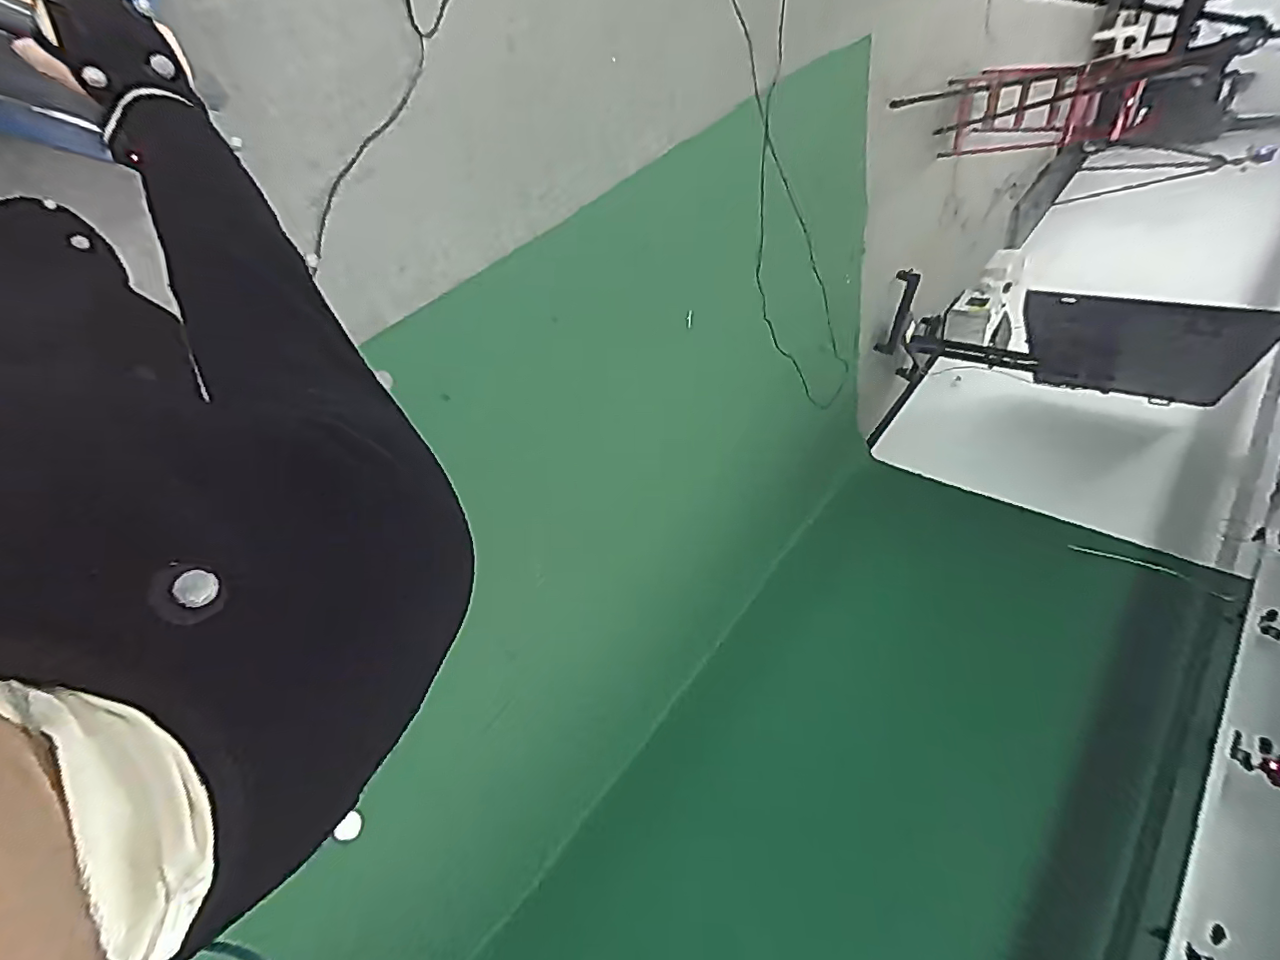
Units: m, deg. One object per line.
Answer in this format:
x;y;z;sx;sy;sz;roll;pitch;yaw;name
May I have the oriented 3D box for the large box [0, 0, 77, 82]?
-0.921;-0.792;0.650;0.320;0.320;0.408;-3;111;-50;large box
